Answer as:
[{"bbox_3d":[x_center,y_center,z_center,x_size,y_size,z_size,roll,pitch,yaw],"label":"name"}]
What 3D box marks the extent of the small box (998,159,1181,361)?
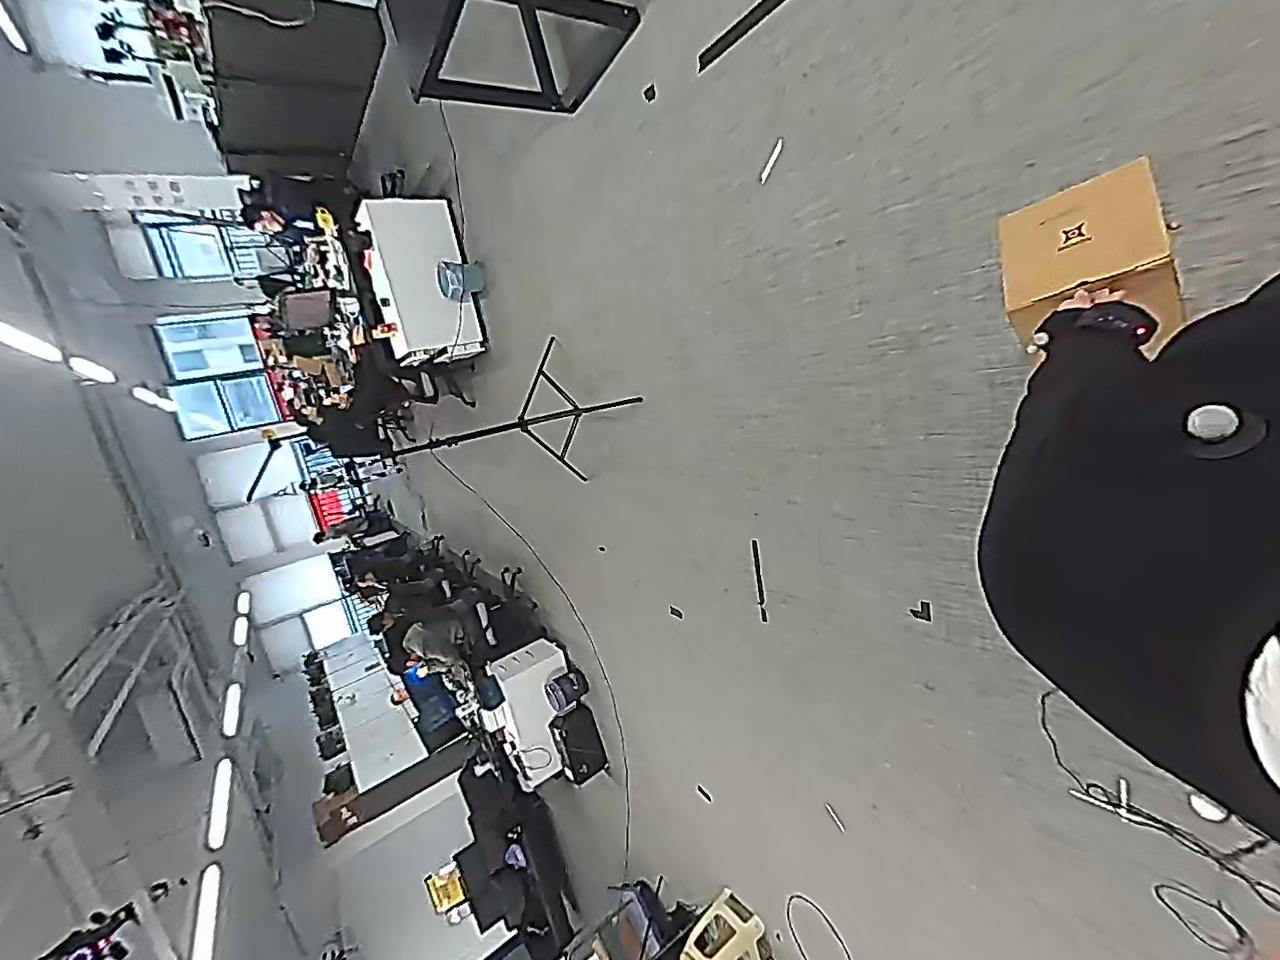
[{"bbox_3d":[0.627,-0.290,0.760,0.168,0.176,0.179,-12,57,45],"label":"small box"}]
